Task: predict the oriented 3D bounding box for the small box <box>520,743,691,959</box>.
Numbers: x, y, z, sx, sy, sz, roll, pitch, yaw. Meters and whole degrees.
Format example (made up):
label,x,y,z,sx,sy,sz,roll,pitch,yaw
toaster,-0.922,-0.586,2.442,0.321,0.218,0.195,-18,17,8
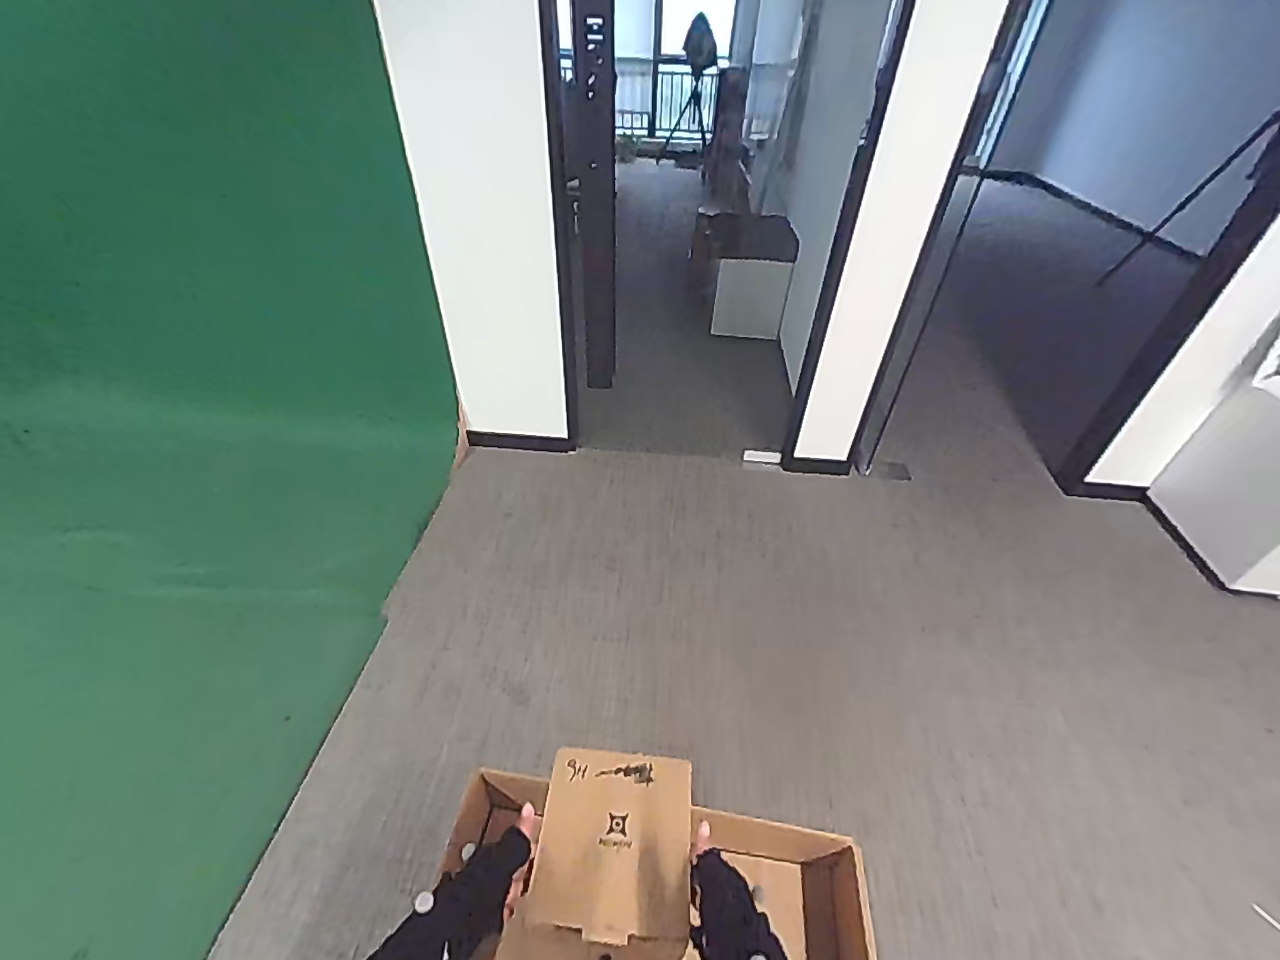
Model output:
label,x,y,z,sx,sy,sz,roll,pitch,yaw
small box,-0.031,0.441,0.635,0.168,0.176,0.179,5,39,3
